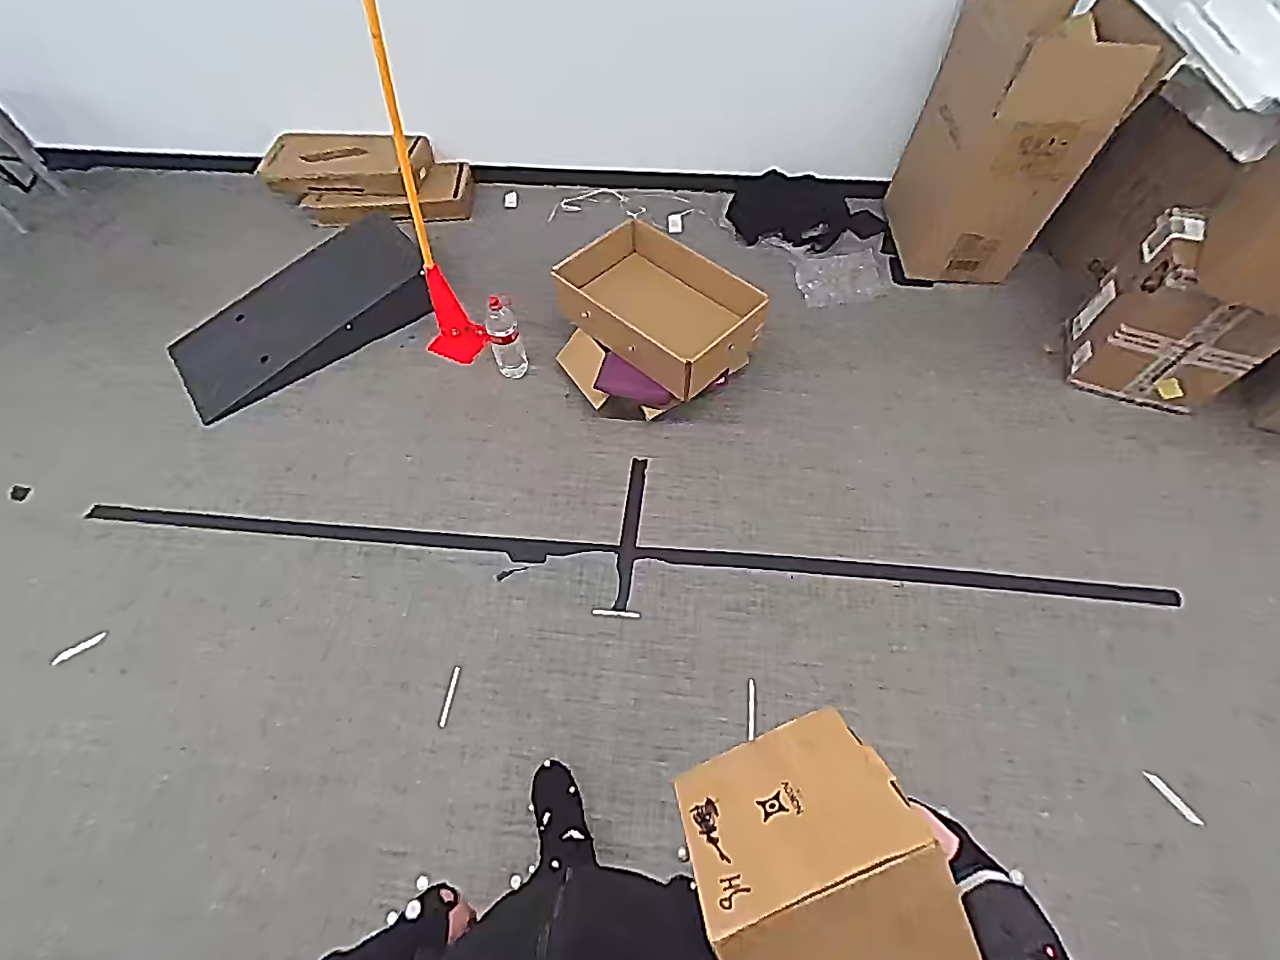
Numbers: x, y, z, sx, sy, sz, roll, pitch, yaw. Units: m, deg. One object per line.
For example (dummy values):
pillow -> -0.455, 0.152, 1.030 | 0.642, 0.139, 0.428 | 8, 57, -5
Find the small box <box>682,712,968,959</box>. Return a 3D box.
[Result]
small box -> 0.157, 0.353, 0.481 | 0.179, 0.168, 0.176 | -23, 100, -1
